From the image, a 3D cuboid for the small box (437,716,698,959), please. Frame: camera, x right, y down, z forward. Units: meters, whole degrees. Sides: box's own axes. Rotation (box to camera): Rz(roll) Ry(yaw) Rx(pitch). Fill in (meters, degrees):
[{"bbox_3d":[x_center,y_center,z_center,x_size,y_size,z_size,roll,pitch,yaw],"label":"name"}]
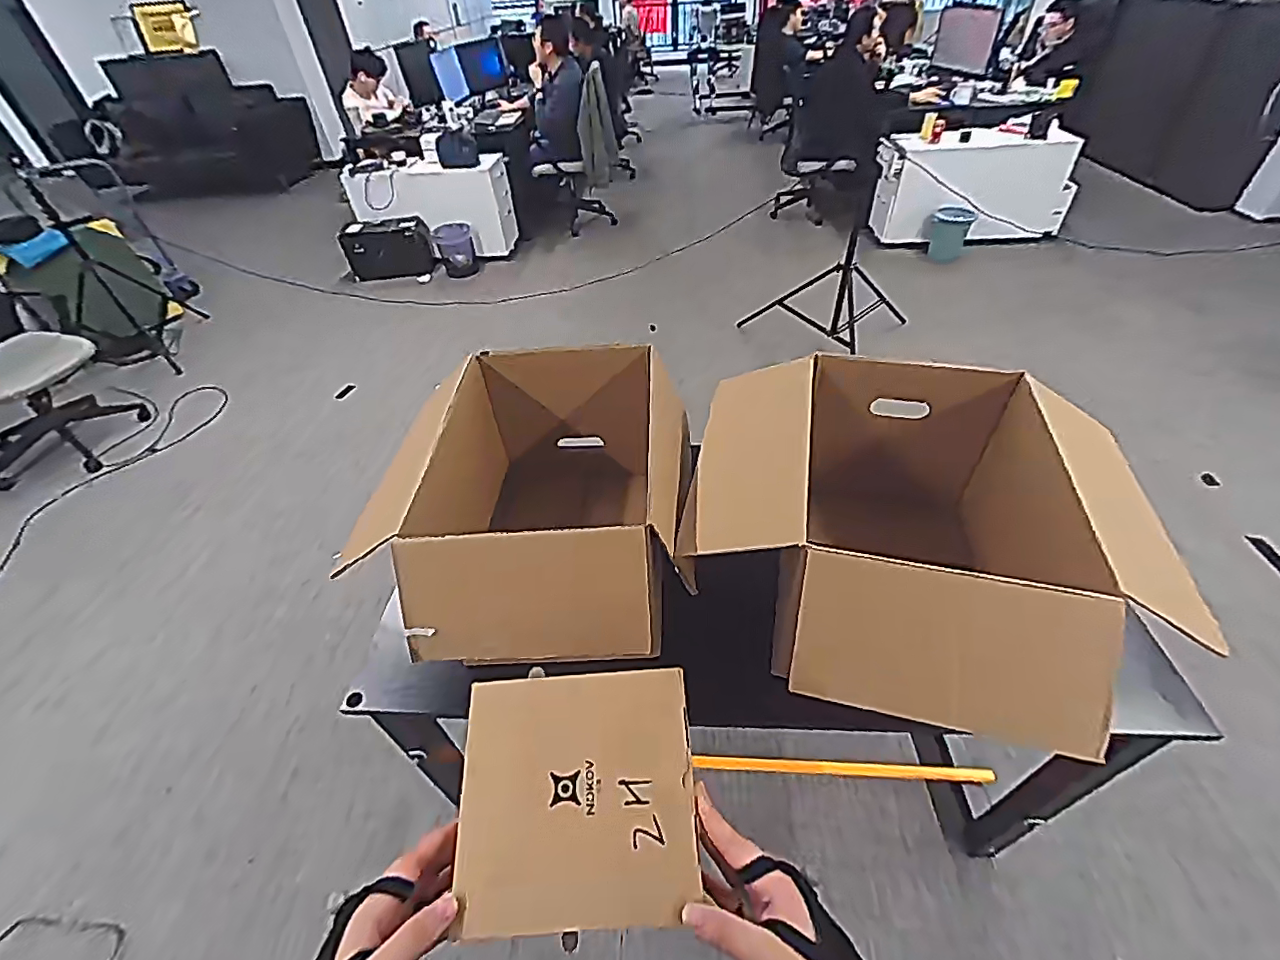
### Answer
[{"bbox_3d":[-0.047,0.303,0.456,0.179,0.176,0.168,-4,59,1],"label":"small box"}]
